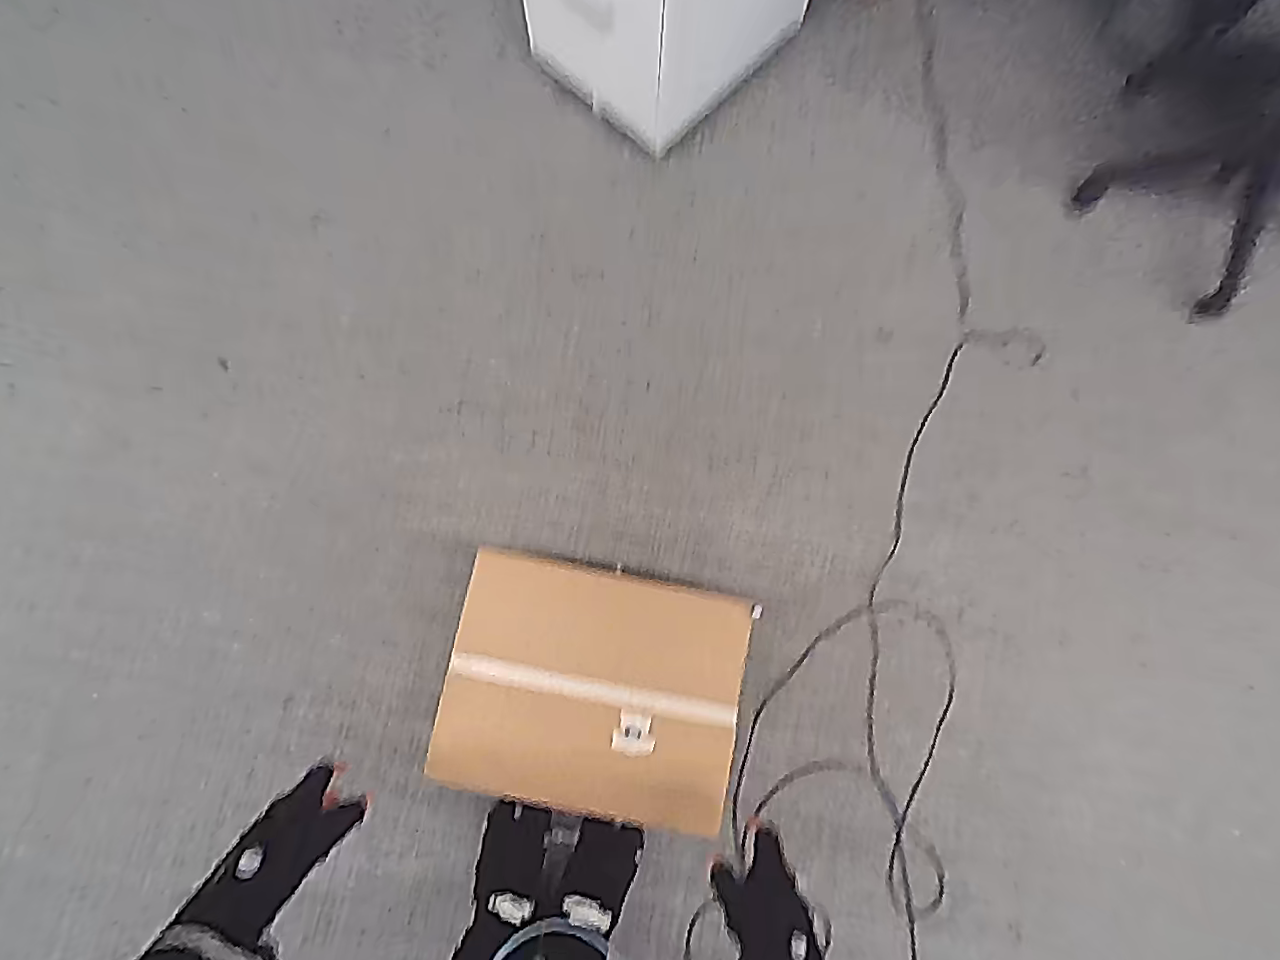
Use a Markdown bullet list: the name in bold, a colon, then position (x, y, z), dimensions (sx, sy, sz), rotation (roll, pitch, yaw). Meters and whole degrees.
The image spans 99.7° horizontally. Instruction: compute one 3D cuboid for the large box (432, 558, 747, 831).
- **large box**: position (-0.071, 0.326, 0.907), dimensions (0.408, 0.320, 0.320), rotation (11, 79, 0)
